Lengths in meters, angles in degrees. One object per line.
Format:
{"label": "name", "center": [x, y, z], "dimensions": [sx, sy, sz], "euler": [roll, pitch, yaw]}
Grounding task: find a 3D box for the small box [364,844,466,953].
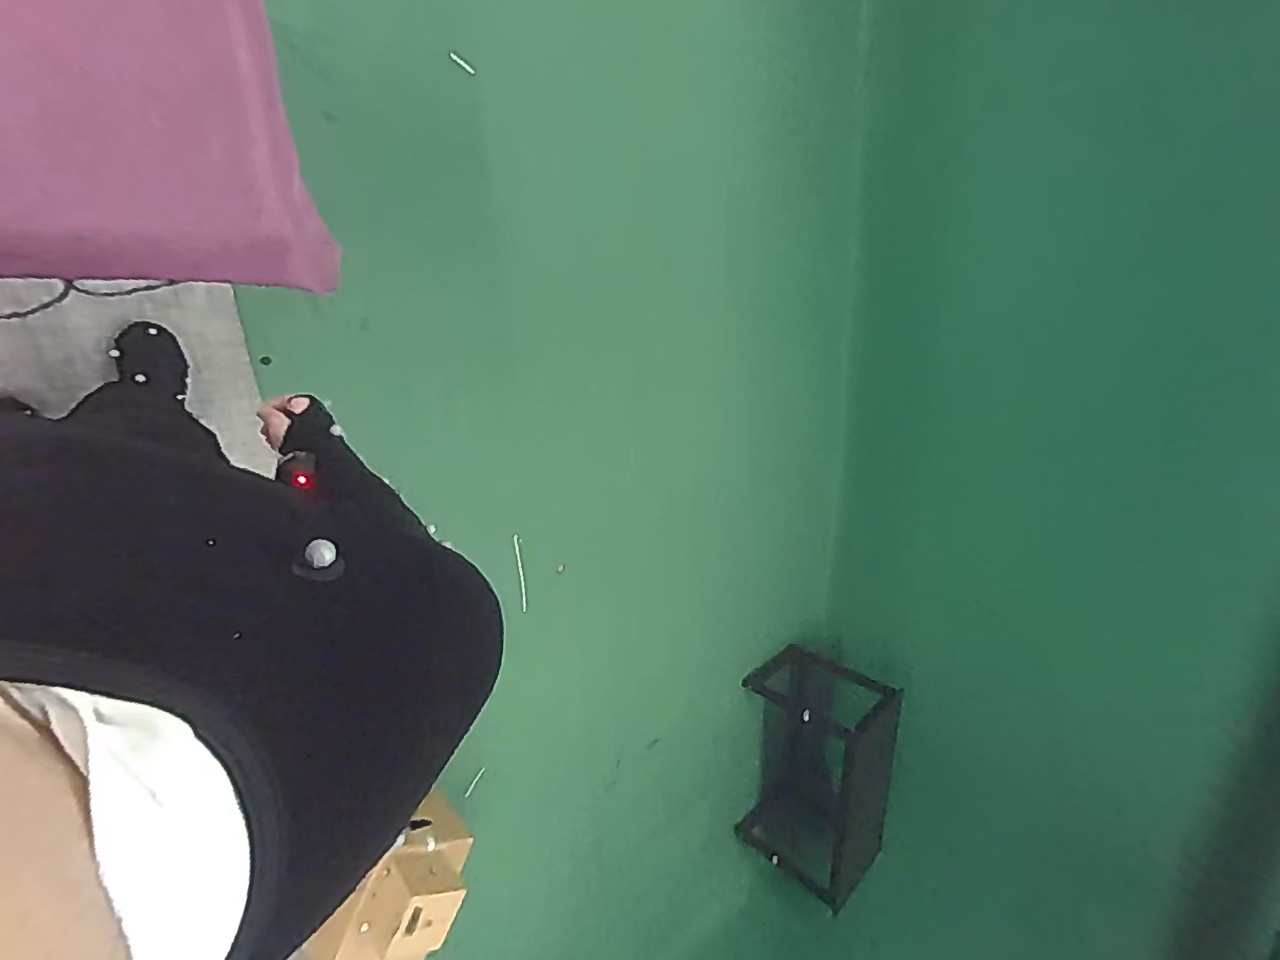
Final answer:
{"label": "small box", "center": [-0.628, 1.149, 1.500], "dimensions": [0.179, 0.176, 0.168], "euler": [34, 78, -45]}
